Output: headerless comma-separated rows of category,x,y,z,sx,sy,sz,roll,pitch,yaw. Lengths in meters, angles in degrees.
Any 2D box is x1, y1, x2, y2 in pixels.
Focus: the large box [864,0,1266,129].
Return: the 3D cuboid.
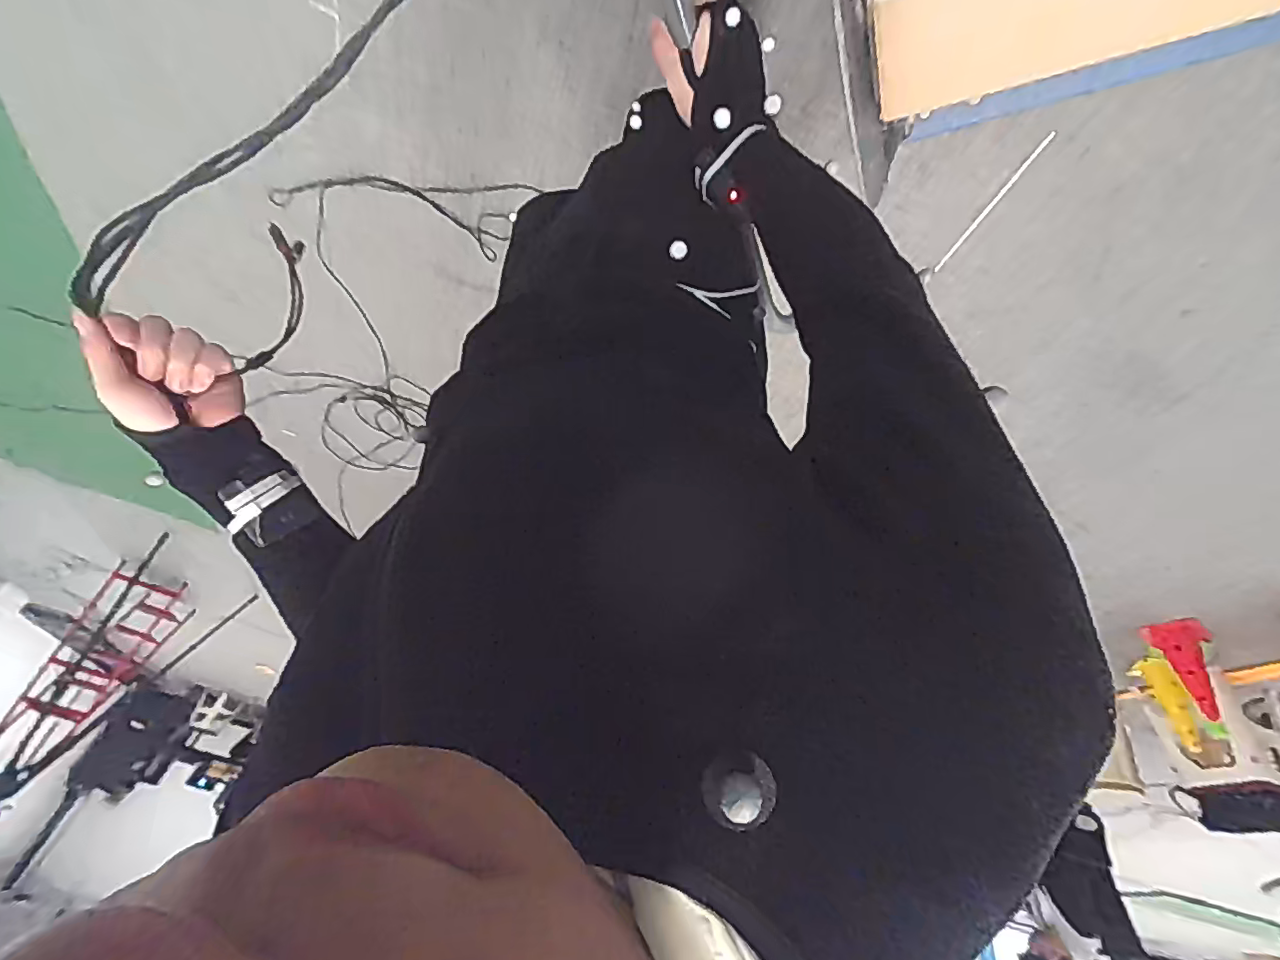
large box,0.512,-0.723,0.685,0.408,0.320,0.320,2,140,30
